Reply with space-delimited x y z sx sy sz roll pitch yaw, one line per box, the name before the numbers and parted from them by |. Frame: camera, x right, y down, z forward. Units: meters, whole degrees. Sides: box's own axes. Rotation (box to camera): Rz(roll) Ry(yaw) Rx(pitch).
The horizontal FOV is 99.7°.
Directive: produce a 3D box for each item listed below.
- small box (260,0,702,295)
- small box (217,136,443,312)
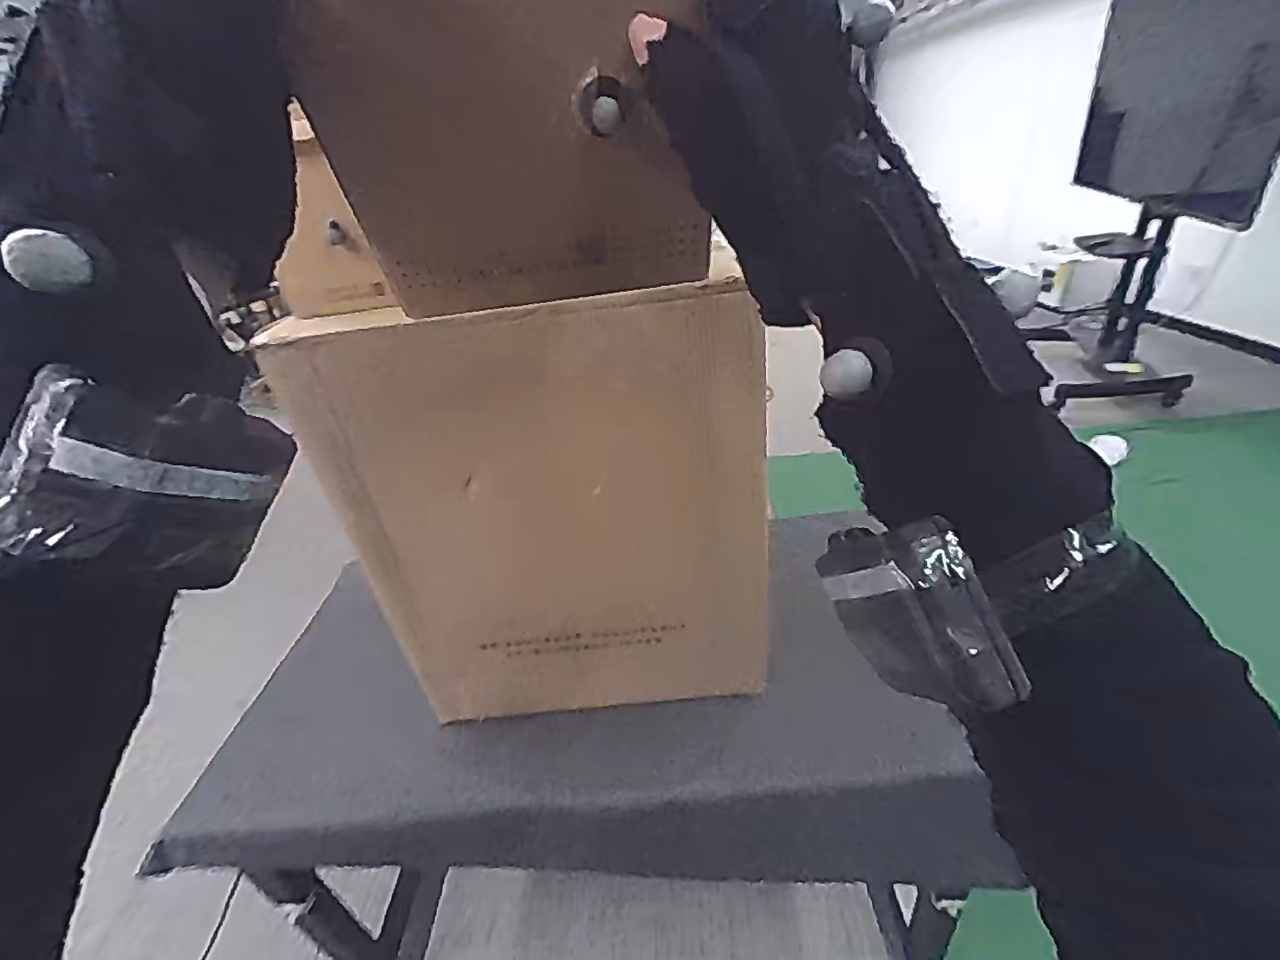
small box | -0.060 -0.214 0.286 0.168 0.176 0.179 -6 51 -2
small box | -0.311 -0.297 0.617 0.168 0.176 0.179 -6 33 3
